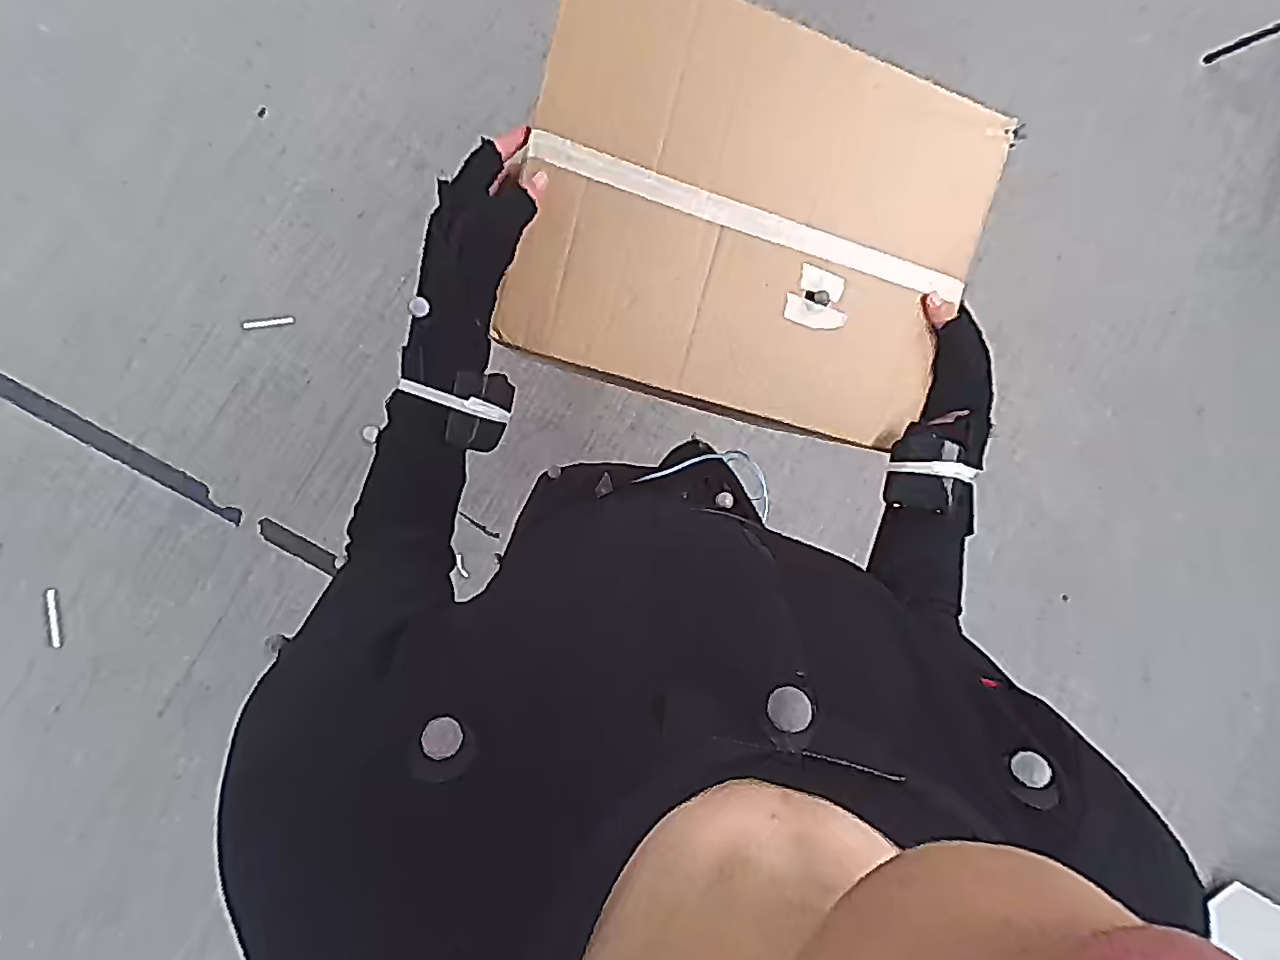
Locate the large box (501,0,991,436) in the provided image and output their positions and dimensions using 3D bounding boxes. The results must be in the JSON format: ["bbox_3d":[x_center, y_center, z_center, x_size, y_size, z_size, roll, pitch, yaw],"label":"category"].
[{"bbox_3d":[0.078,-0.259,0.629,0.408,0.320,0.320,14,99,-12],"label":"large box"}]
